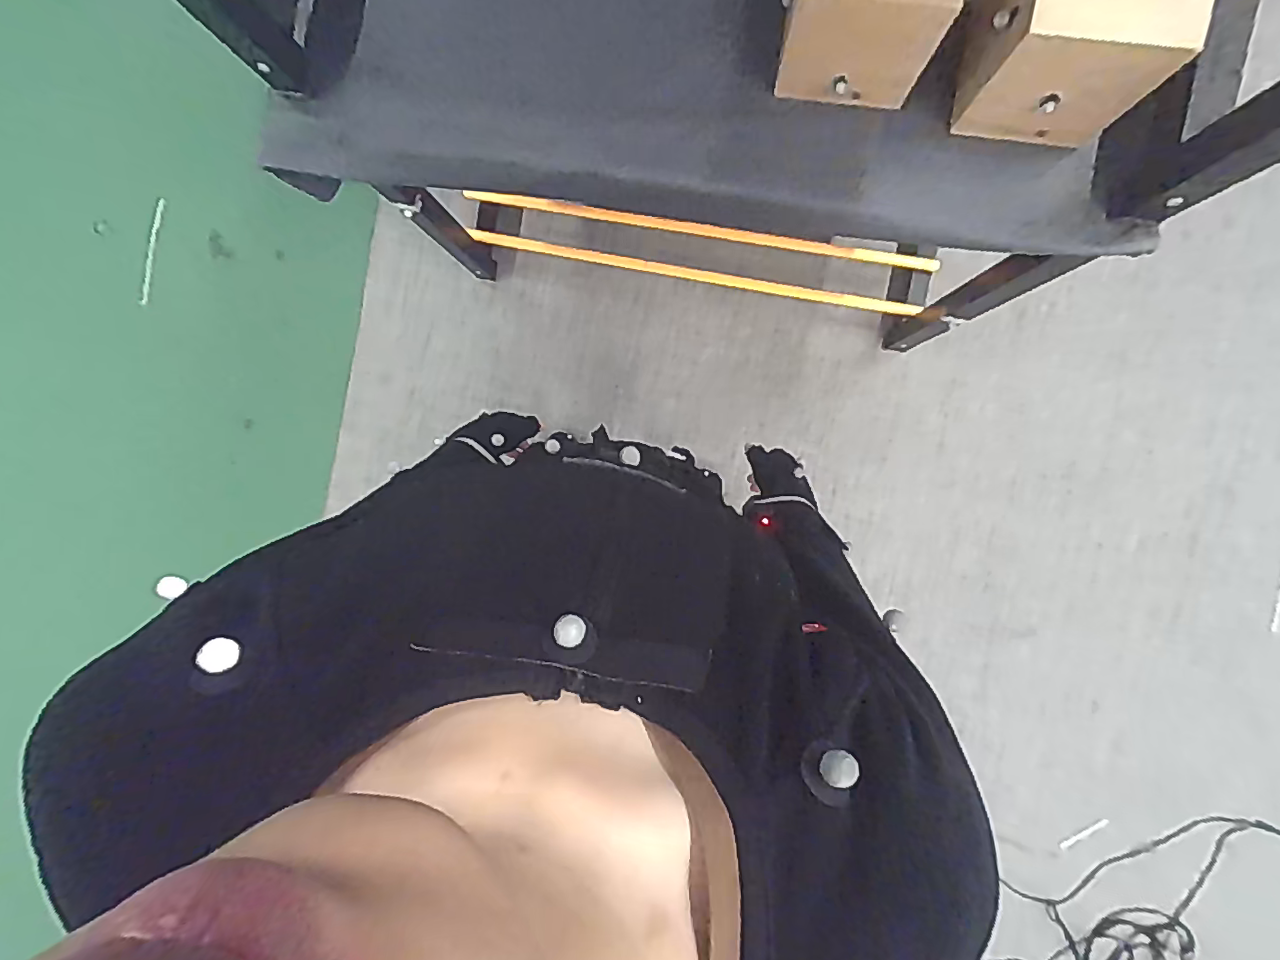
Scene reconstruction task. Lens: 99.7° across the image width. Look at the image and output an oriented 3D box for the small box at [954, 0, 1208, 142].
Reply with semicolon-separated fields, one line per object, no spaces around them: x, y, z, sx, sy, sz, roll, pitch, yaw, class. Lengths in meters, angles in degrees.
0.488;-0.521;0.612;0.168;0.176;0.179;10;92;4;small box
